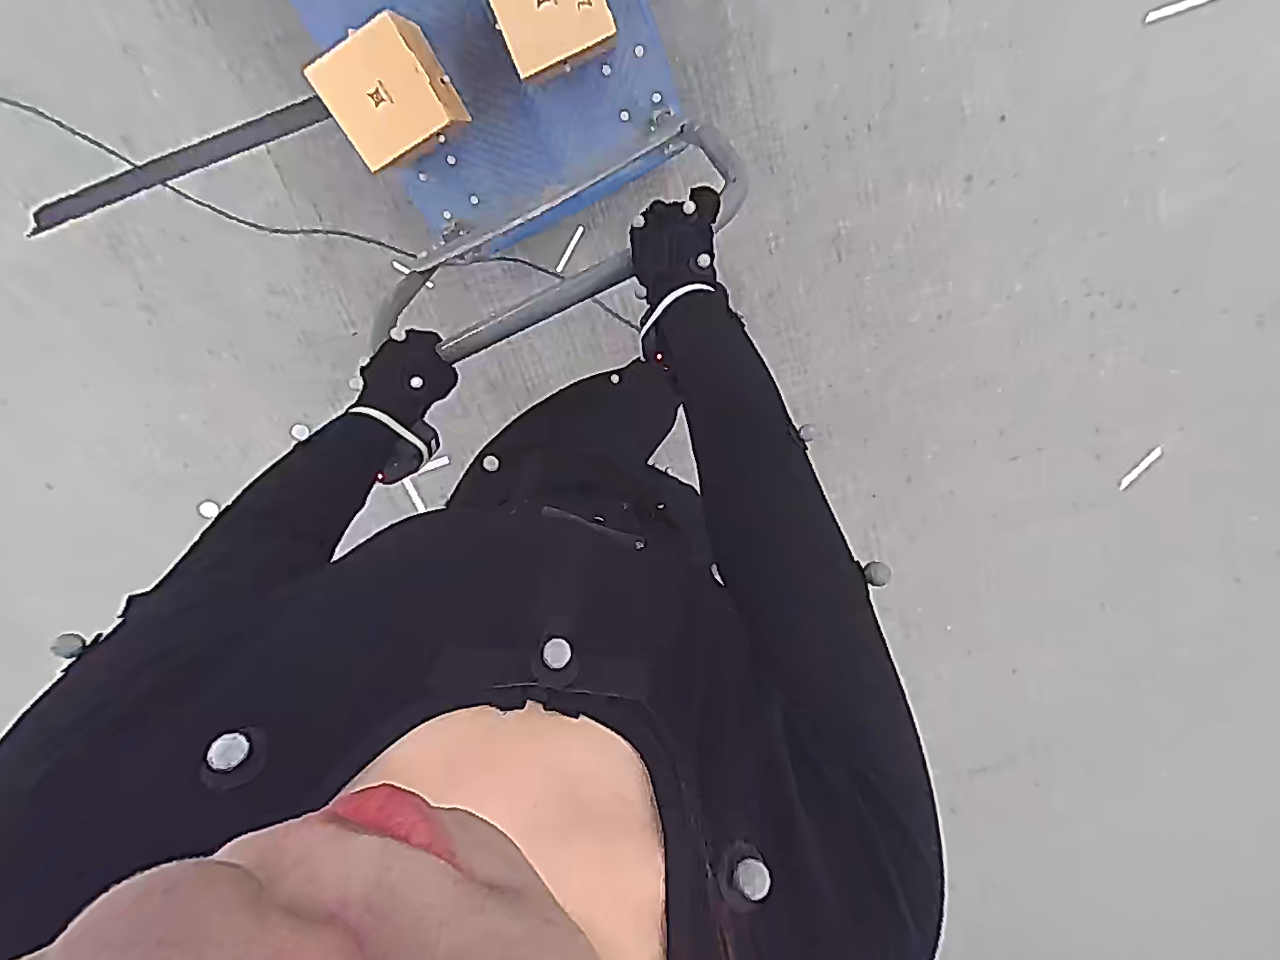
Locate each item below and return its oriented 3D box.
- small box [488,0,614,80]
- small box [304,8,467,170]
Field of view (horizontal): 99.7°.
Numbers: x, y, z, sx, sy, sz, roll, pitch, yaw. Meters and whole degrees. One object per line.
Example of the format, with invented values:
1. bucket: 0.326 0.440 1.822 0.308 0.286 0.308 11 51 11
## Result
1. small box: -0.150 -0.798 0.903 0.179 0.176 0.168 -19 122 9
2. small box: -0.438 -0.681 0.962 0.179 0.176 0.168 -26 121 12
